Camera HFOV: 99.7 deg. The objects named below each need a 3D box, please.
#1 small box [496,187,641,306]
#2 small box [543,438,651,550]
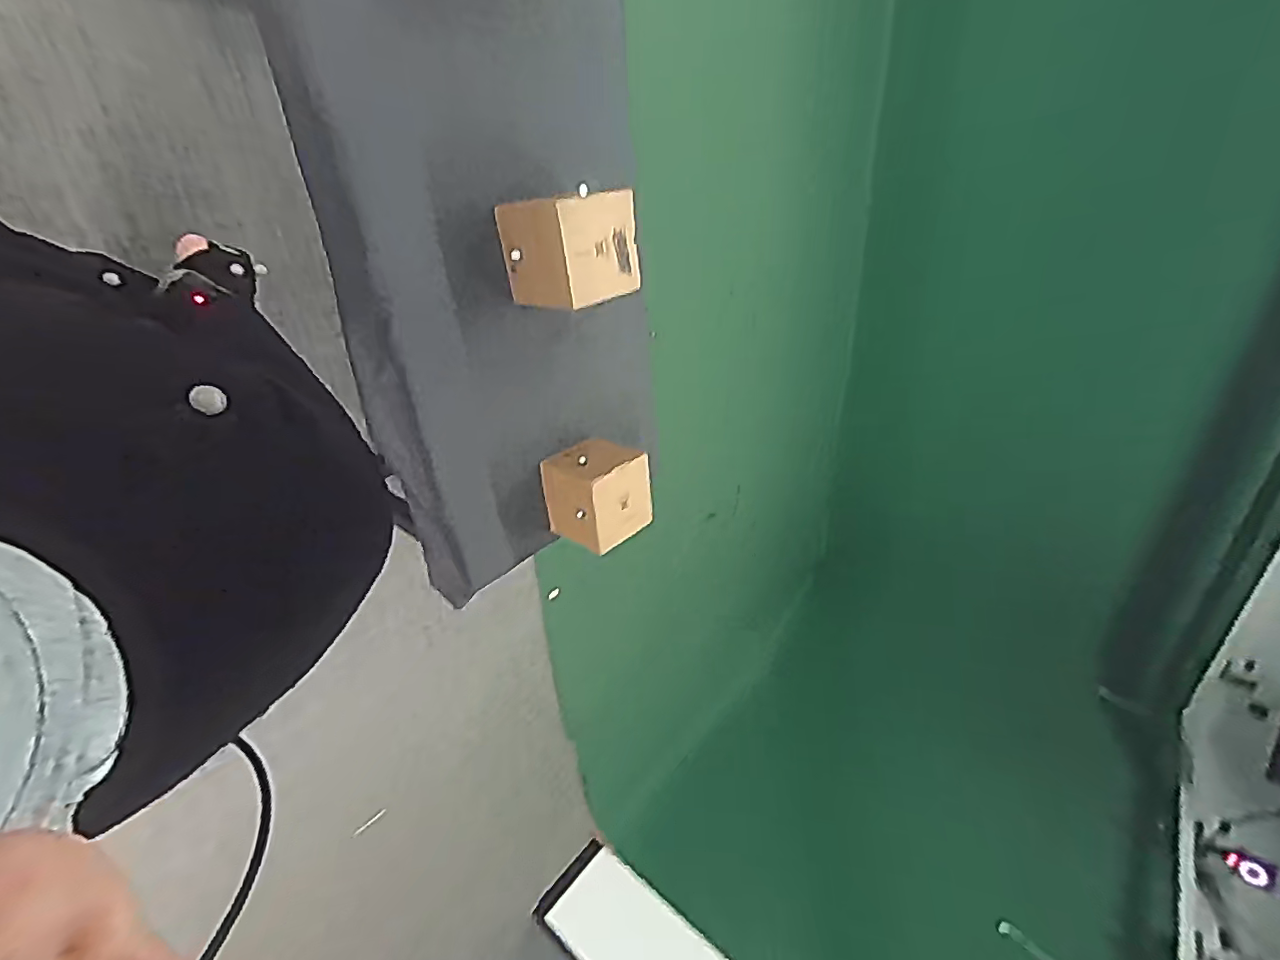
[{"bbox_3d":[-0.123,-0.416,0.954,0.179,0.176,0.168,-33,129,-37],"label":"small box"},{"bbox_3d":[-0.095,0.020,1.184,0.168,0.176,0.179,-30,129,-39],"label":"small box"}]
